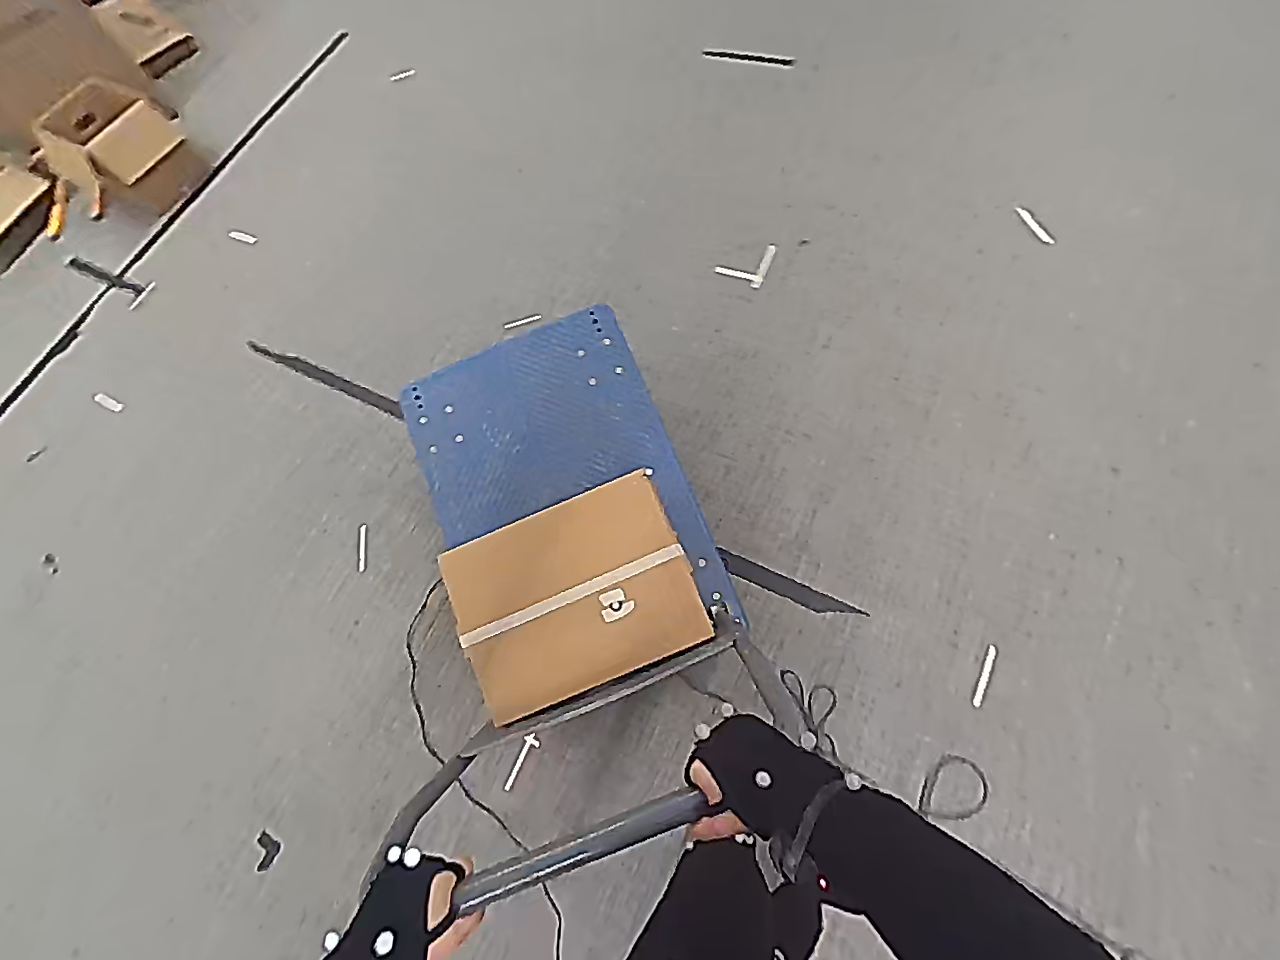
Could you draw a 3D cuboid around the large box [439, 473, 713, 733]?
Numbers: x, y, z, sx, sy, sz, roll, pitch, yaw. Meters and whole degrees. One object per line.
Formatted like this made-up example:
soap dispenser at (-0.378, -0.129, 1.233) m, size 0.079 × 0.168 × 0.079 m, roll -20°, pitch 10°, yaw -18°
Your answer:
large box at (-0.107, 0.232, 1.067) m, size 0.408 × 0.320 × 0.320 m, roll -24°, pitch 80°, yaw 0°
